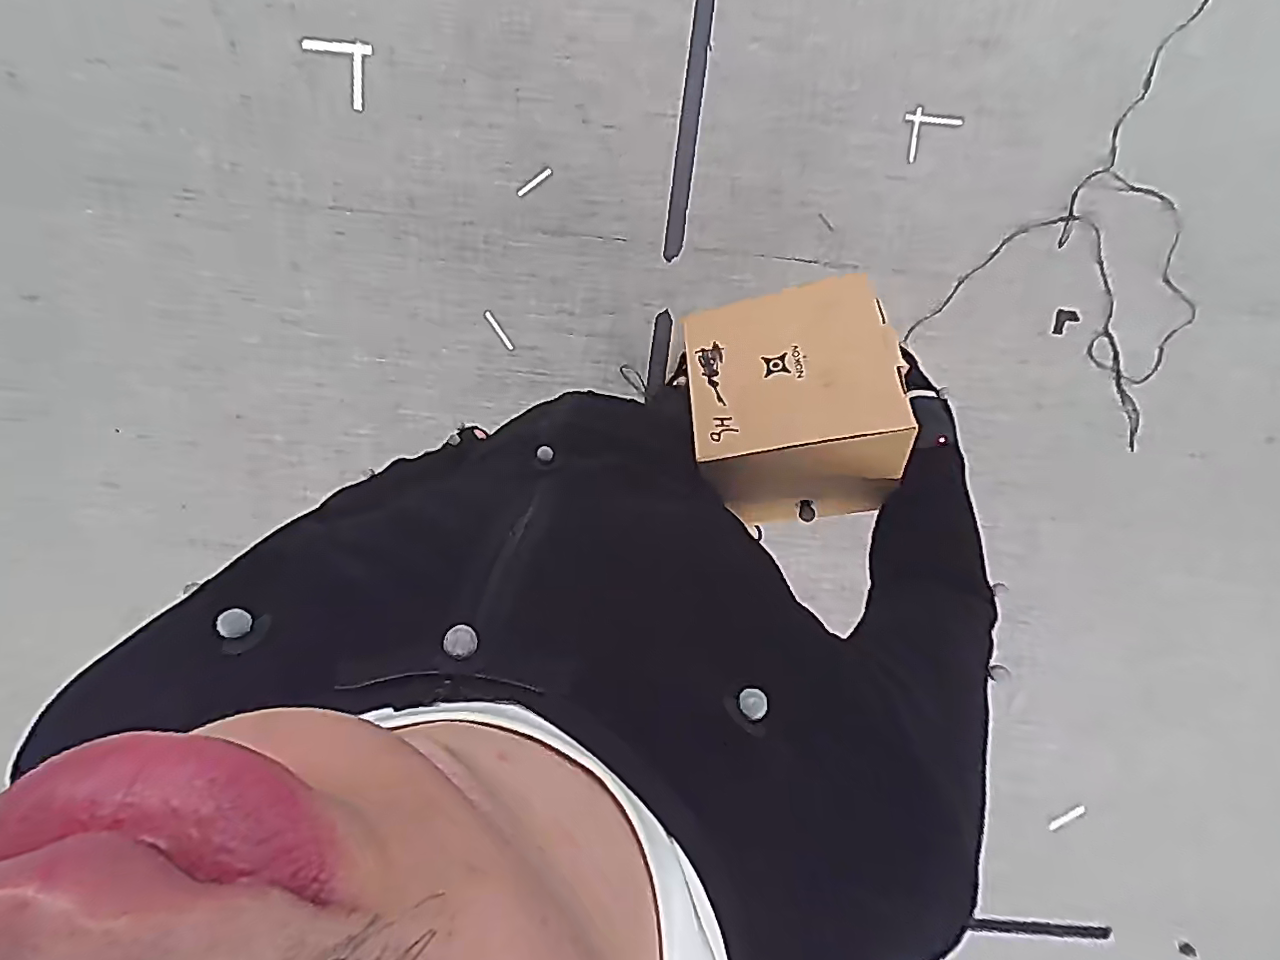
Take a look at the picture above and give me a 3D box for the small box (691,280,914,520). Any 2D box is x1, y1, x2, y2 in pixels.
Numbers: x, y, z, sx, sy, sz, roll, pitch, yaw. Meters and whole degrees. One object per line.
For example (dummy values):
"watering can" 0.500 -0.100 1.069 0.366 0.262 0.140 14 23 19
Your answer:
"small box" 0.156 -0.070 0.557 0.179 0.176 0.168 -8 62 13
